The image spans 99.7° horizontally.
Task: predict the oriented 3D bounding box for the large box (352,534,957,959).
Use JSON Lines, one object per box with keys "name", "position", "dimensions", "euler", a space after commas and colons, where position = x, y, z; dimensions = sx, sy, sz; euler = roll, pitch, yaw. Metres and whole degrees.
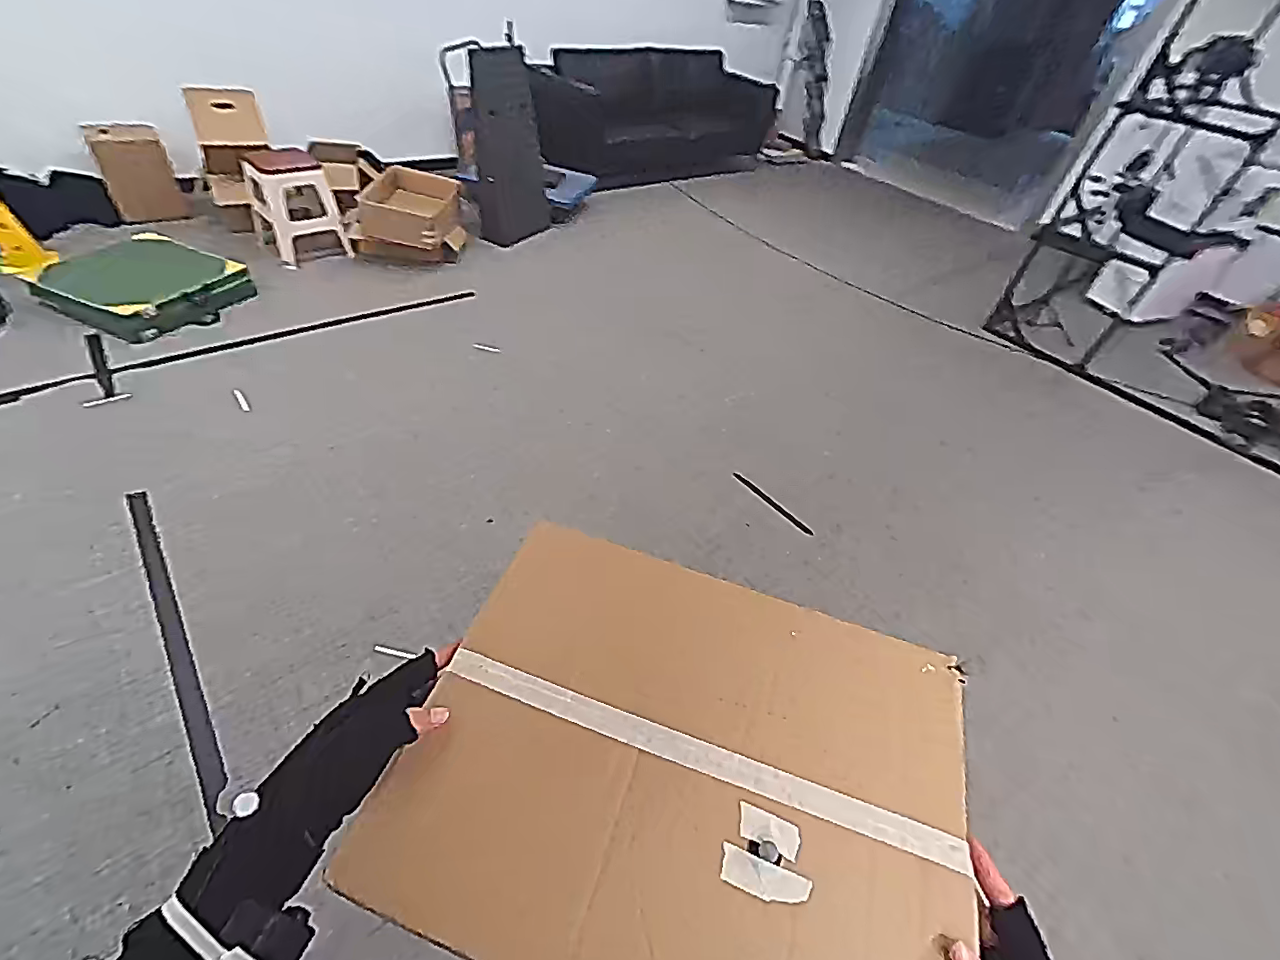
{"name": "large box", "position": [0.027, 0.312, 0.534], "dimensions": [0.408, 0.320, 0.320], "euler": [18, 49, 10]}
